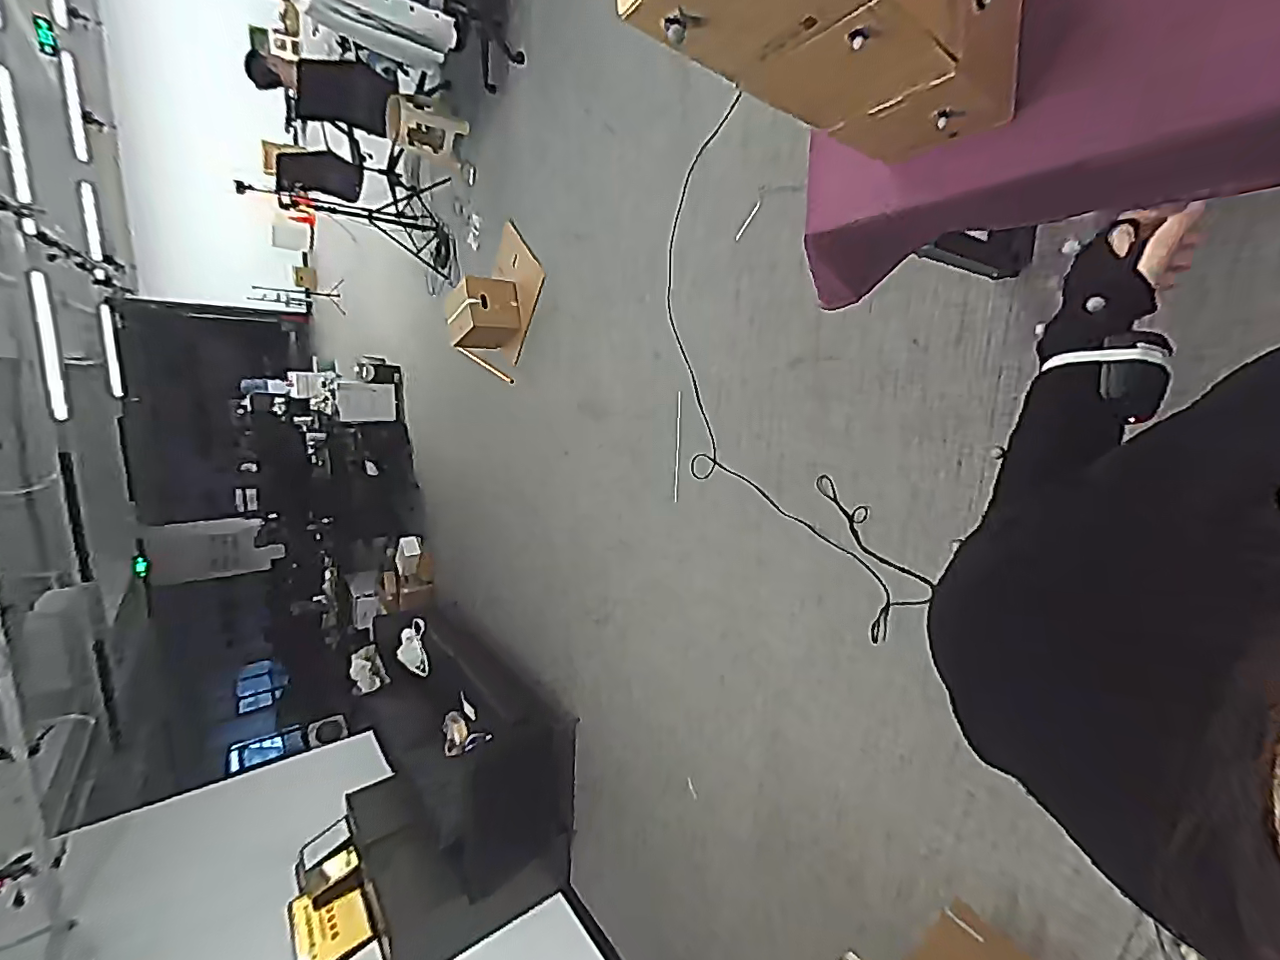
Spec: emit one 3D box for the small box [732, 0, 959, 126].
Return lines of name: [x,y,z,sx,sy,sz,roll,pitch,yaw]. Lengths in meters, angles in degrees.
small box: [0.220,-0.524,0.586,0.179,0.176,0.168,6,100,50]

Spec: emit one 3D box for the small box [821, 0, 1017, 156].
small box: [0.350,-0.538,0.682,0.168,0.176,0.179,9,102,50]
